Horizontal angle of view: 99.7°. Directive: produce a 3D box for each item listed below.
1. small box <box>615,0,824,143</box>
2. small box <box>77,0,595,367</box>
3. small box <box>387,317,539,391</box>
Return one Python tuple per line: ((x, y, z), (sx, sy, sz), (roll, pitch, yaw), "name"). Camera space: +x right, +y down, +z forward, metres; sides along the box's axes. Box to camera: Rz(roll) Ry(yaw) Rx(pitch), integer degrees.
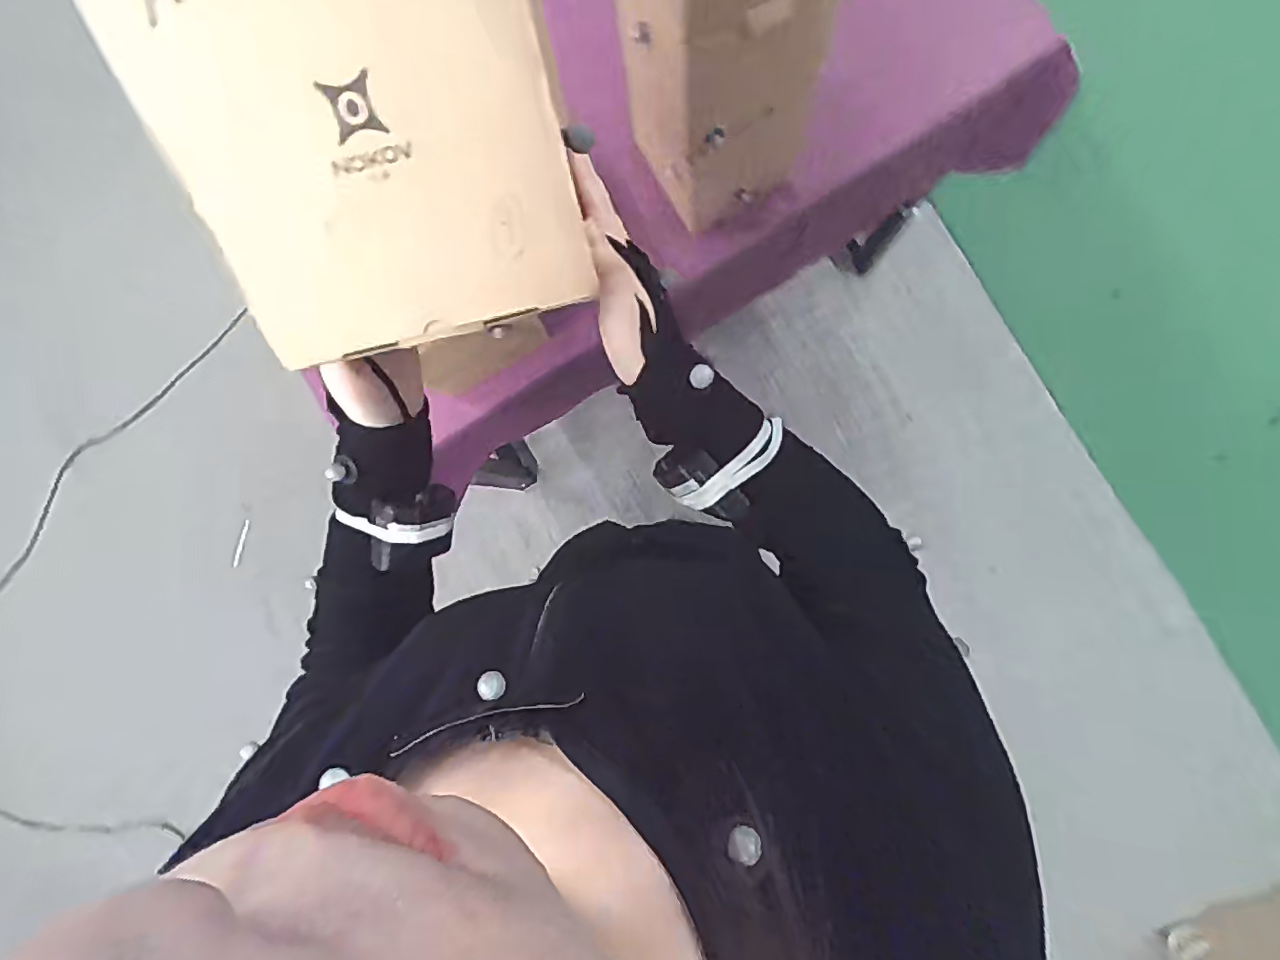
((0.078, -0.491, 0.556), (0.168, 0.176, 0.179), (-27, 84, 4), "small box")
((-0.123, -0.185, 0.299), (0.168, 0.176, 0.179), (-12, 119, 4), "small box")
((-0.257, -0.246, 0.743), (0.179, 0.176, 0.168), (-30, 83, 4), "small box")
